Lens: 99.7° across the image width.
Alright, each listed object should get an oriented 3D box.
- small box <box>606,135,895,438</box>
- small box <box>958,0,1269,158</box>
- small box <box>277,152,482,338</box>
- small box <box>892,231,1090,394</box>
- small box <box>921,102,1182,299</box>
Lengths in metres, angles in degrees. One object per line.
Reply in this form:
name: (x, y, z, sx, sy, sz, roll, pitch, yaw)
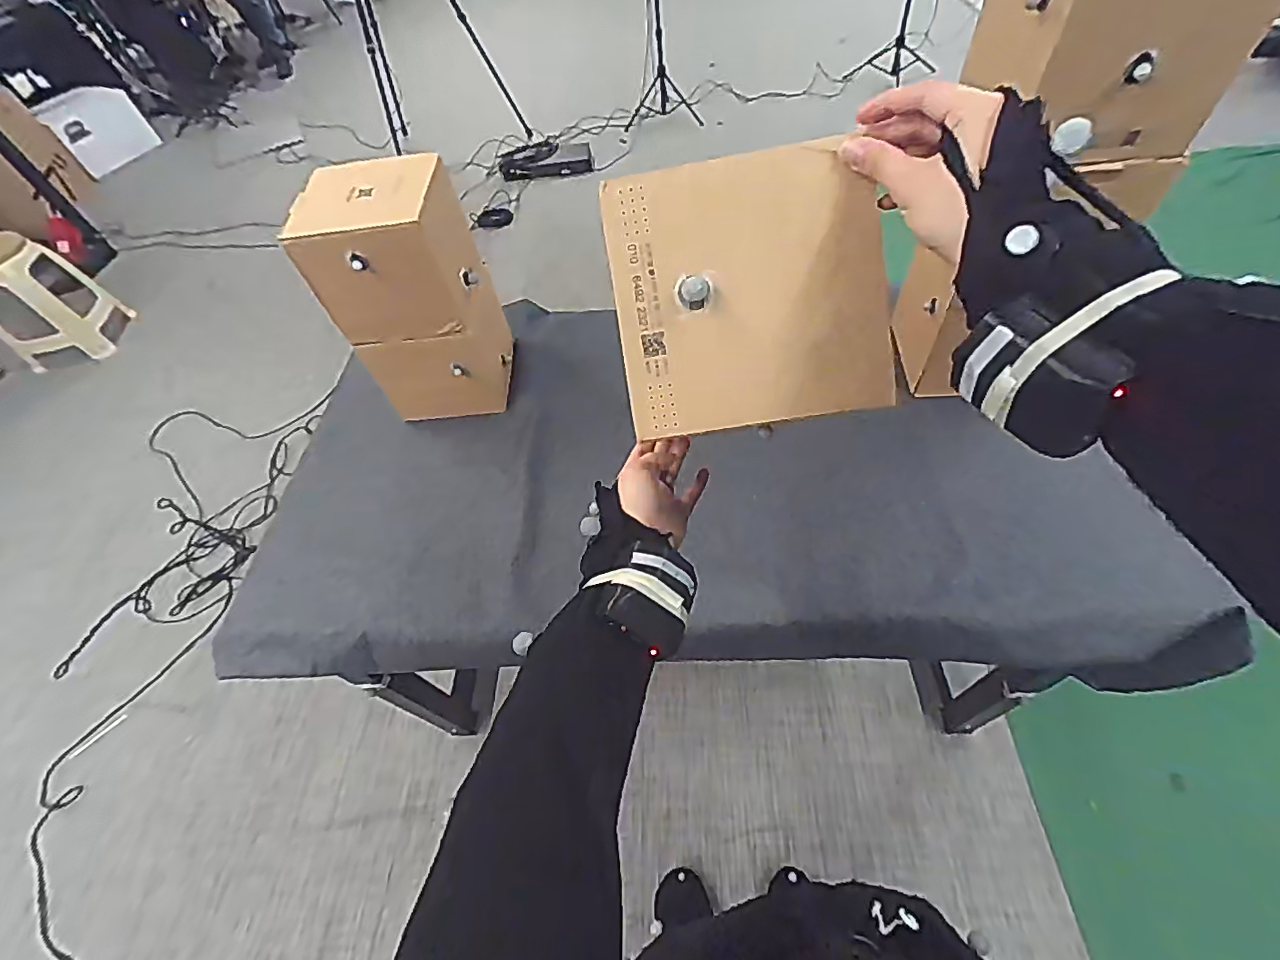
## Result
small box: (0.073, -0.126, 0.417, 0.176, 0.179, 0.168, -8, 96, 6)
small box: (0.433, -0.425, 0.508, 0.168, 0.176, 0.179, -2, 55, 6)
small box: (-0.336, -0.312, 0.738, 0.179, 0.176, 0.168, -5, 57, 2)
small box: (0.482, -0.244, 0.779, 0.168, 0.176, 0.179, -1, 56, 8)
small box: (0.460, -0.332, 0.643, 0.168, 0.176, 0.179, -1, 57, 8)
